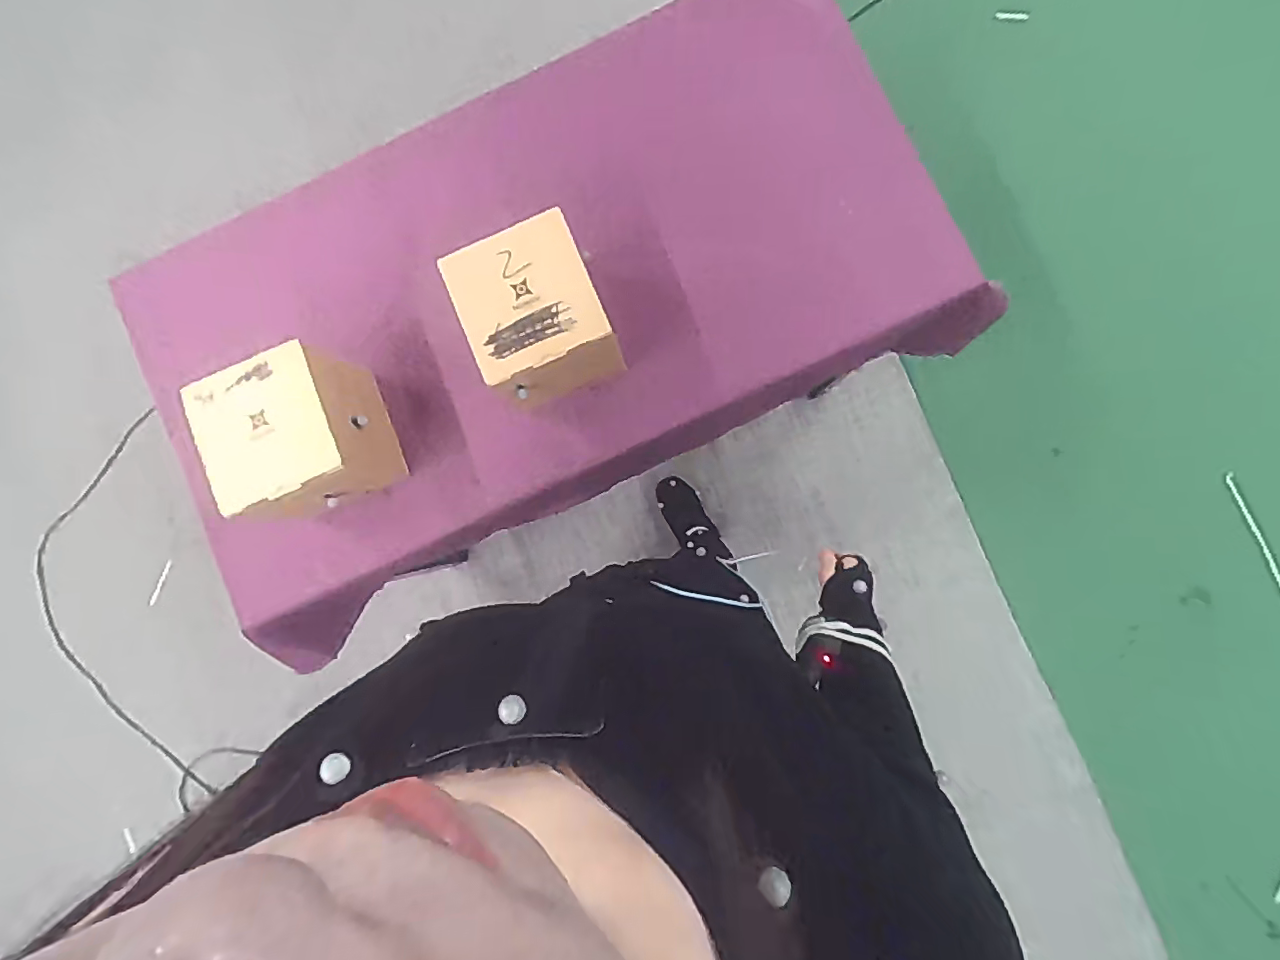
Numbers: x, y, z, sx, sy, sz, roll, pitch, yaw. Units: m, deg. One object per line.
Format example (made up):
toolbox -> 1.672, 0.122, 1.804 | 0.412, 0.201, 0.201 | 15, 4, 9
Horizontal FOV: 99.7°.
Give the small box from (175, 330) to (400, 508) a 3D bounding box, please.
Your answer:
small box -> -0.460, -0.073, 0.734 | 0.168, 0.176, 0.179 | -22, 87, 1
